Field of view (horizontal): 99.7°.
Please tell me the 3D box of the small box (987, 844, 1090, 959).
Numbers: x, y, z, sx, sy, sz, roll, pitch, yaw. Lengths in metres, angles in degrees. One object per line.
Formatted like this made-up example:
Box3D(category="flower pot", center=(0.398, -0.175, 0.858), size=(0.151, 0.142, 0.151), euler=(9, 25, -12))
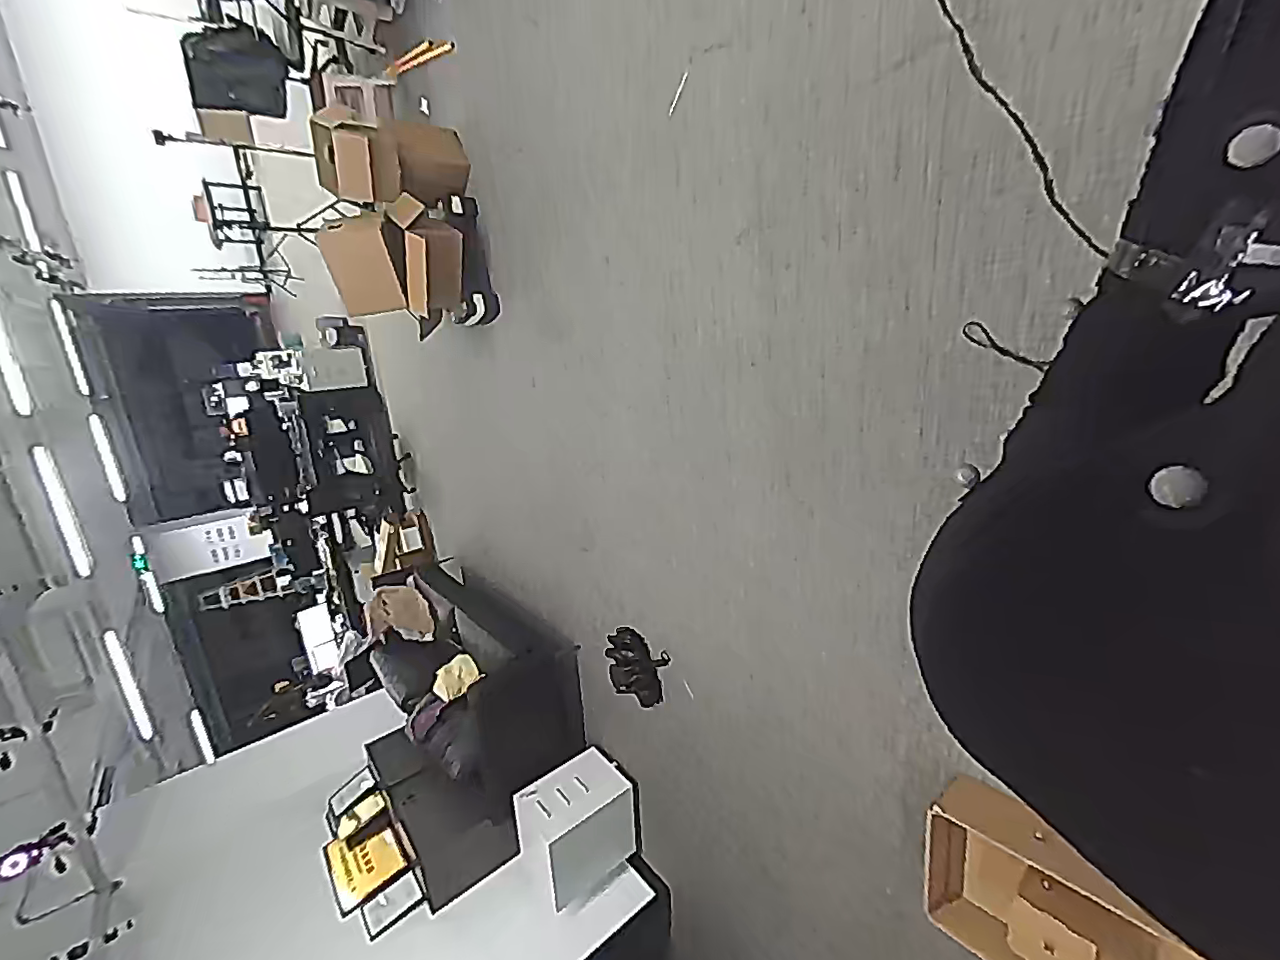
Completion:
Box3D(category="small box", center=(0.999, 1.071, 1.355), size=(0.168, 0.176, 0.179), euler=(15, 116, 49))
